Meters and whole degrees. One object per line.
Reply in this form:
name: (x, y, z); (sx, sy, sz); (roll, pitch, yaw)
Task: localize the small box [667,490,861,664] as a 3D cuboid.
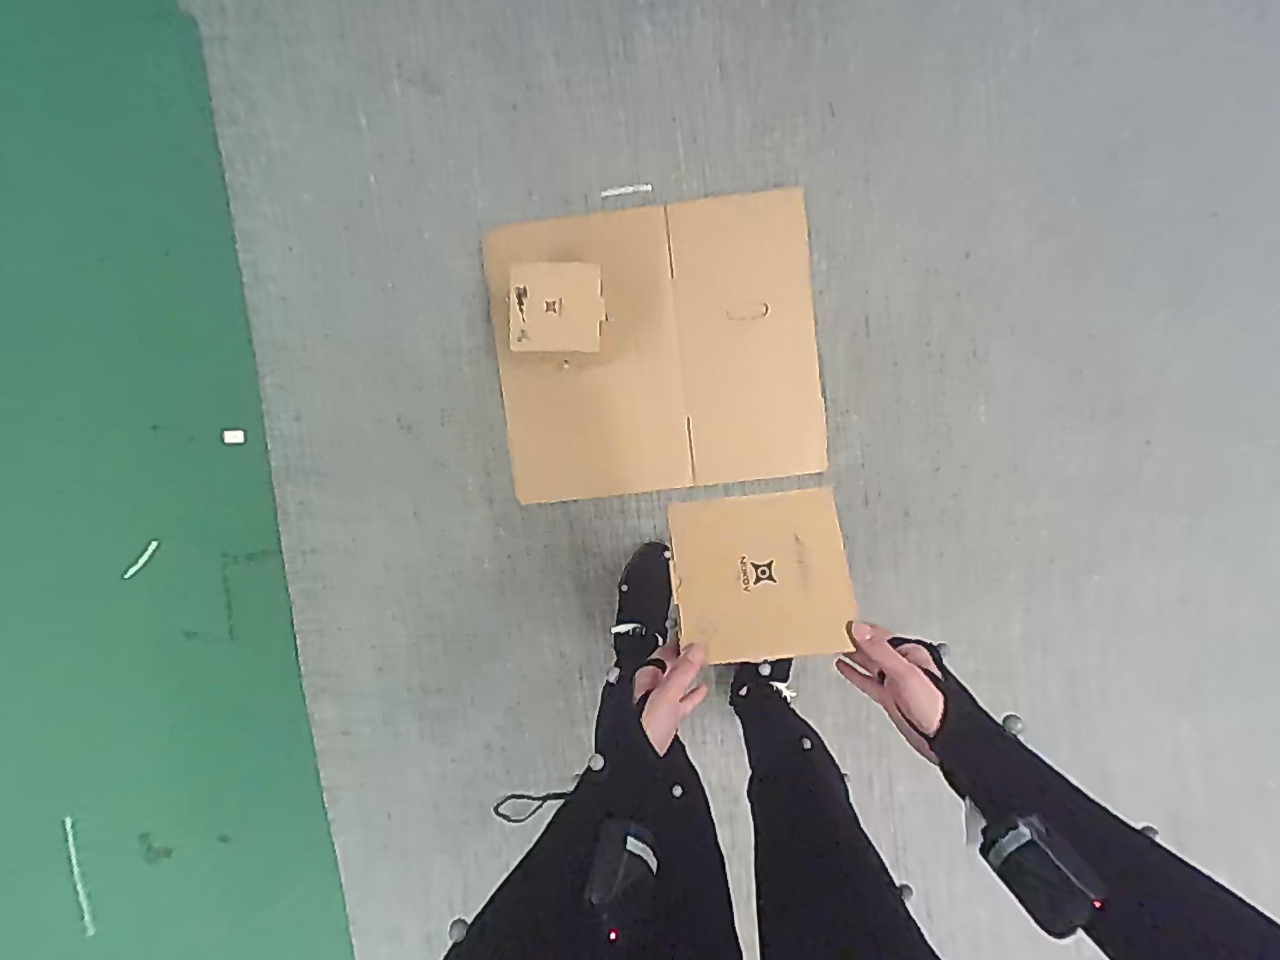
small box: (0.128, 0.120, 0.622); (0.179, 0.176, 0.168); (-6, 71, 3)

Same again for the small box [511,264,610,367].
small box: (-0.153, -0.324, 1.092); (0.179, 0.176, 0.168); (2, 94, 1)
